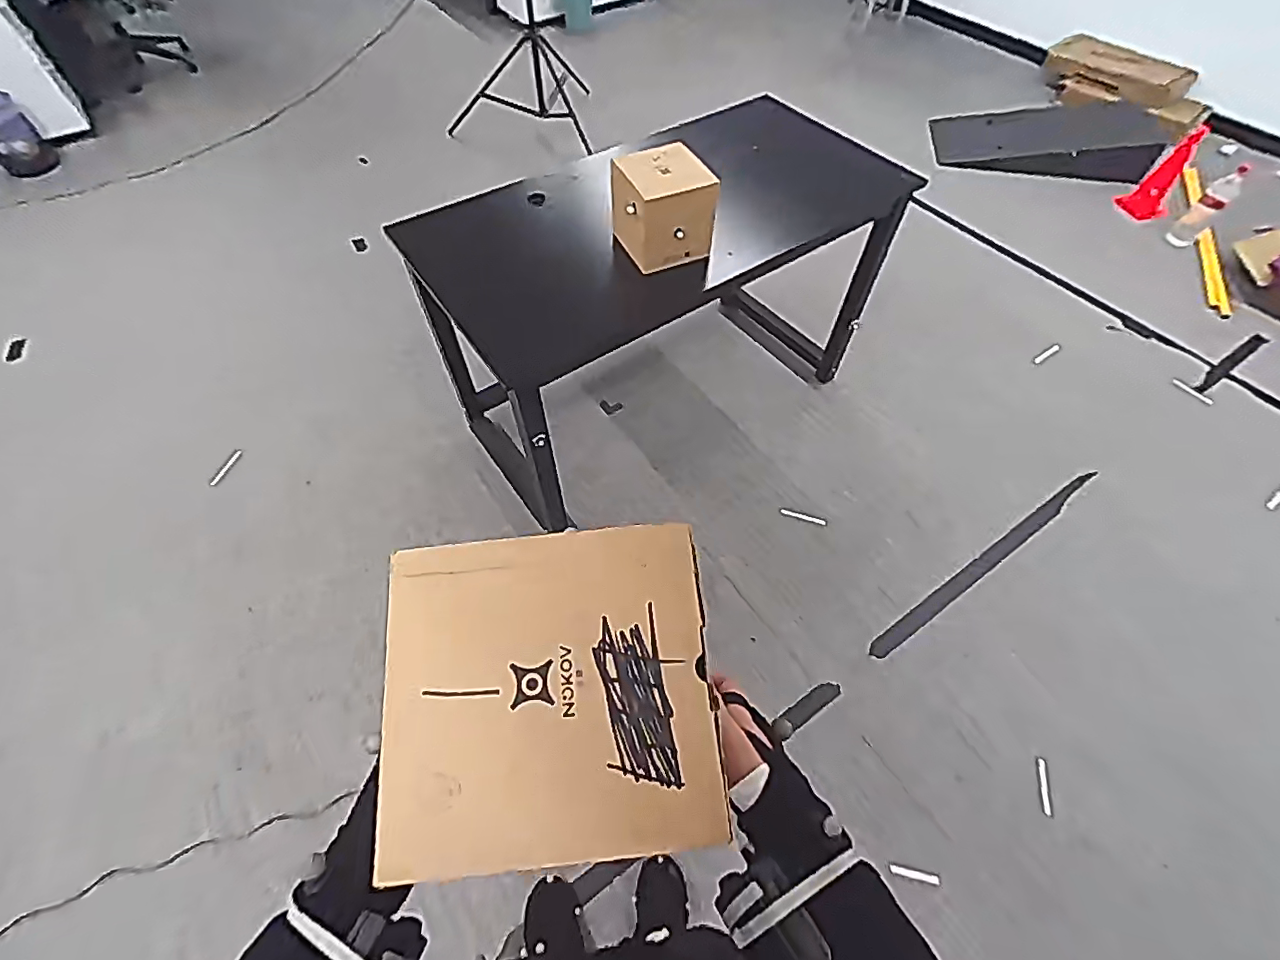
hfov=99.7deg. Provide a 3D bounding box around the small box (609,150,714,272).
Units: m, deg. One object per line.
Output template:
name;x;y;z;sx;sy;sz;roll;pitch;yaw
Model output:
small box;0.043;-0.571;1.166;0.168;0.176;0.179;-21;59;-14
